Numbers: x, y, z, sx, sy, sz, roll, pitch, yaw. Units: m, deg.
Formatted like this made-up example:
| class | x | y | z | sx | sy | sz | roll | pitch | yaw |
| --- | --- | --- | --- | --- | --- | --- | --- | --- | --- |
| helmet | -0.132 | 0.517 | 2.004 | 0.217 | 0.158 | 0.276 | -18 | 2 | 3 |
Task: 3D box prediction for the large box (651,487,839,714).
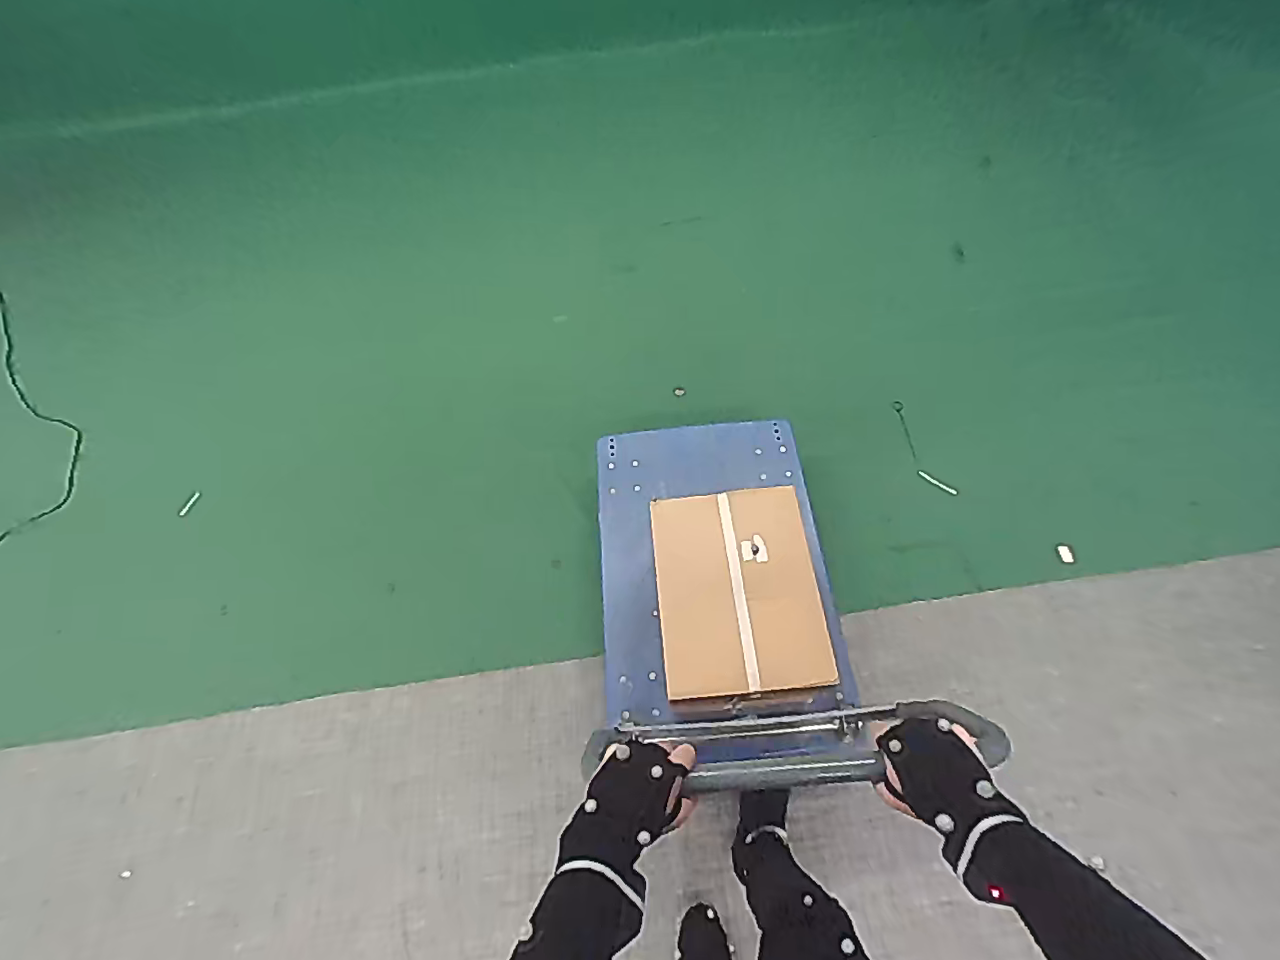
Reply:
| class | x | y | z | sx | sy | sz | roll | pitch | yaw |
| --- | --- | --- | --- | --- | --- | --- | --- | --- | --- |
| large box | 0.206 | 0.276 | 1.200 | 0.320 | 0.320 | 0.408 | -6 | 62 | 2 |
